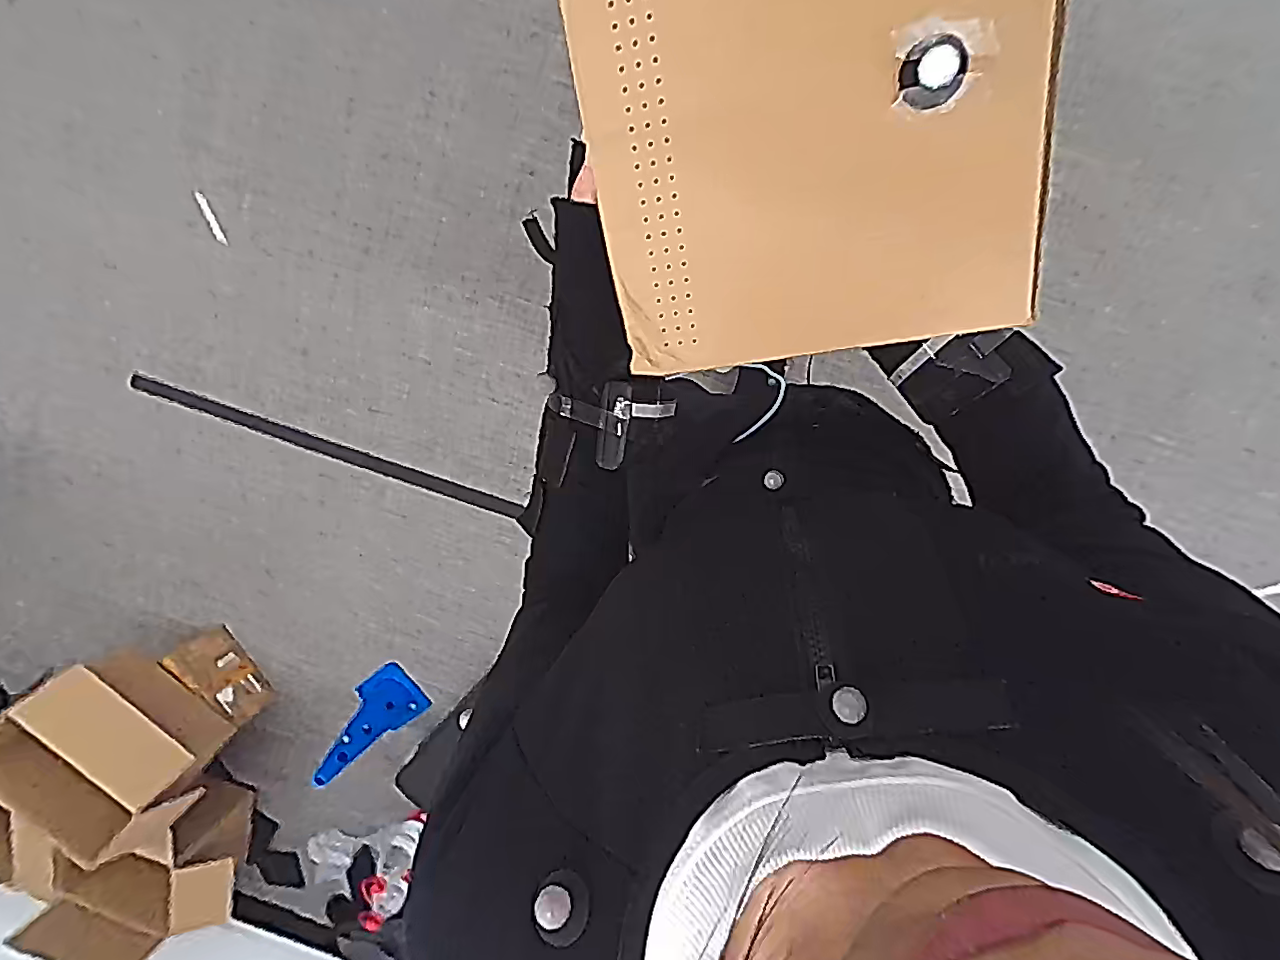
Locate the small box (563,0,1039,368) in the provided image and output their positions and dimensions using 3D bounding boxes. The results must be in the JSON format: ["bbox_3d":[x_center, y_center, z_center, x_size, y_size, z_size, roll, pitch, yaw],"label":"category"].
[{"bbox_3d":[0.070,-0.170,0.281,0.176,0.168,0.179,-5,114,14],"label":"small box"}]
